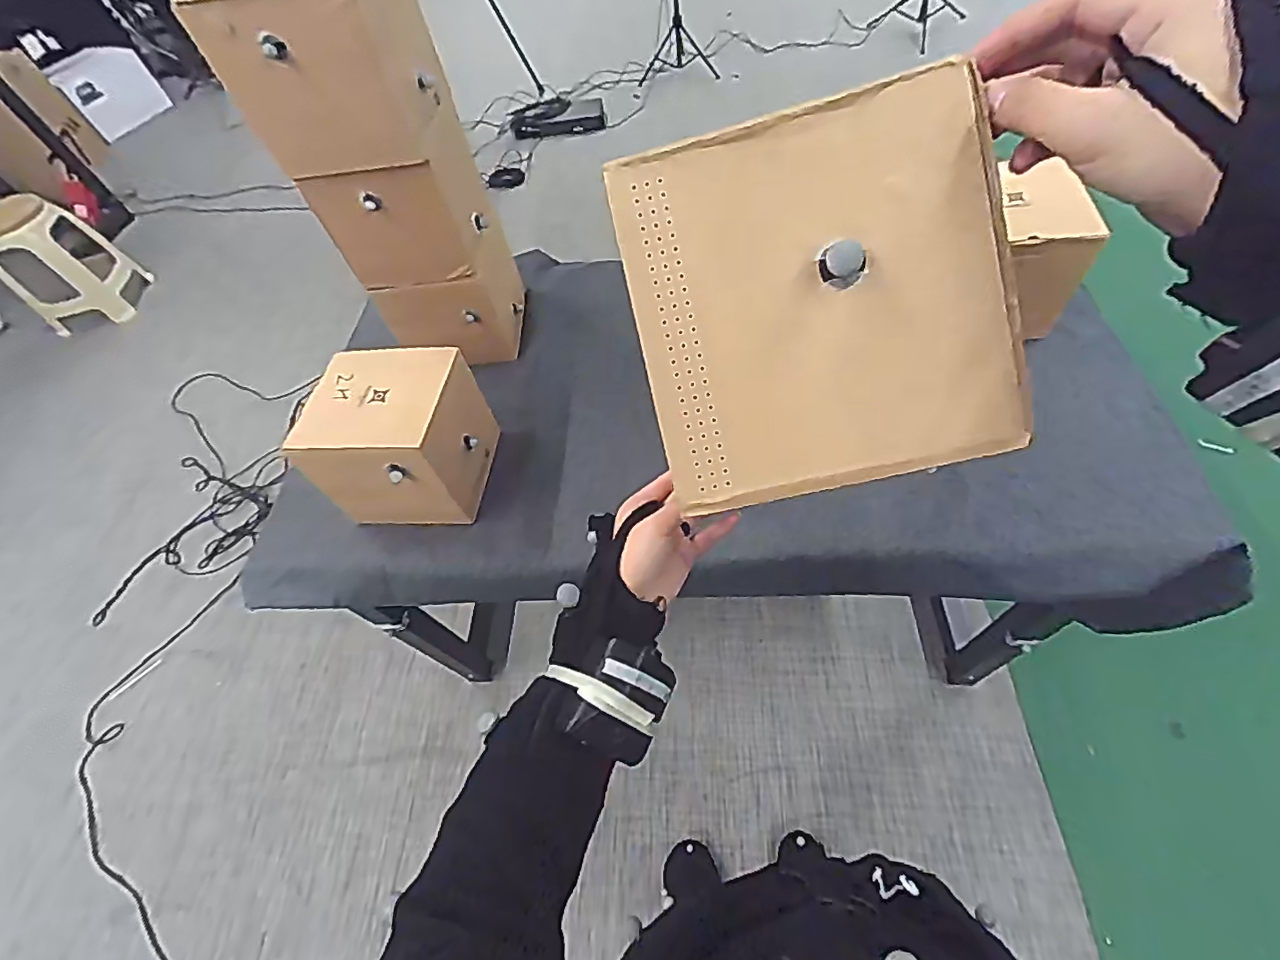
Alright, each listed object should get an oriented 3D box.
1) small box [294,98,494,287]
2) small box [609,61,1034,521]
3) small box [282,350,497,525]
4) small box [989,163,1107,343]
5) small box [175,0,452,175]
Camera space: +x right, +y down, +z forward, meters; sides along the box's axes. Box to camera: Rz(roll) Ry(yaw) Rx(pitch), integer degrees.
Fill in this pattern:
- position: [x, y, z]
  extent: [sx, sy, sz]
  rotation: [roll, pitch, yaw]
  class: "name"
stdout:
- position: [-0.322, -0.388, 0.746]
  extent: [0.179, 0.176, 0.168]
  rotation: [-5, 59, 4]
  class: "small box"
- position: [0.088, -0.089, 0.327]
  extent: [0.176, 0.168, 0.179]
  rotation: [-13, 96, 9]
  class: "small box"
- position: [-0.310, -0.052, 0.717]
  extent: [0.179, 0.176, 0.168]
  rotation: [0, 54, 8]
  class: "small box"
- position: [0.496, -0.316, 0.769]
  extent: [0.168, 0.176, 0.179]
  rotation: [0, 59, 9]
  class: "small box"
- position: [-0.338, -0.467, 0.603]
  extent: [0.179, 0.176, 0.168]
  rotation: [-3, 59, 5]
  class: "small box"
